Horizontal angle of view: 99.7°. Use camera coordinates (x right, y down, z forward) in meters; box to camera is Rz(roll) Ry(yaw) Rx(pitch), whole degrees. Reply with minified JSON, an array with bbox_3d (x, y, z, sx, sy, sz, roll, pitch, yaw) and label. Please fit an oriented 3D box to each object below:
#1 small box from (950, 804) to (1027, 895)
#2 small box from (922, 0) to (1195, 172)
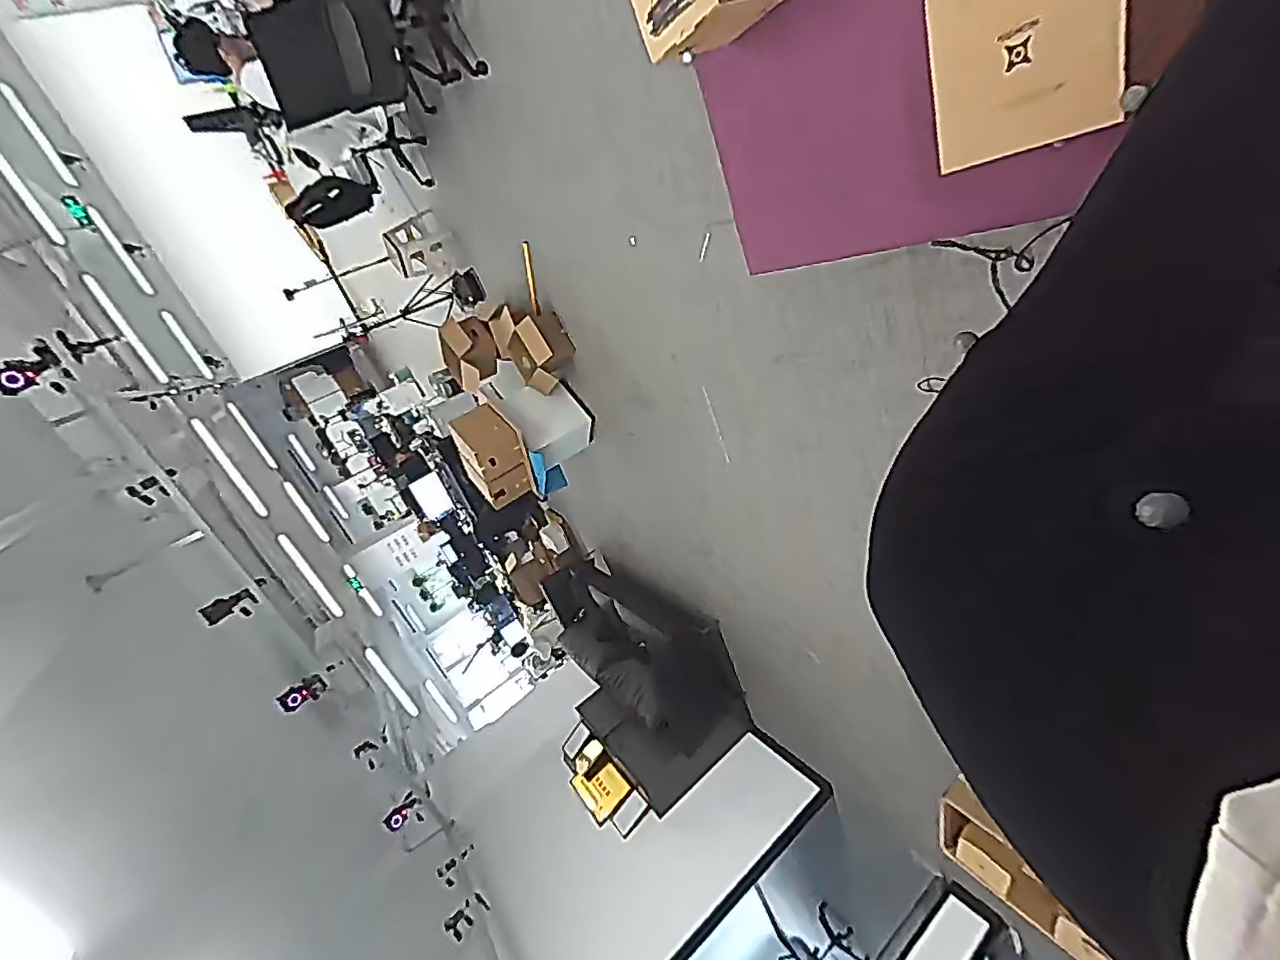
[{"bbox_3d":[1.222,1.291,1.896,0.168,0.176,0.179,29,143,47],"label":"small box"},{"bbox_3d":[0.411,-0.439,0.535,0.168,0.176,0.179,19,136,56],"label":"small box"}]
